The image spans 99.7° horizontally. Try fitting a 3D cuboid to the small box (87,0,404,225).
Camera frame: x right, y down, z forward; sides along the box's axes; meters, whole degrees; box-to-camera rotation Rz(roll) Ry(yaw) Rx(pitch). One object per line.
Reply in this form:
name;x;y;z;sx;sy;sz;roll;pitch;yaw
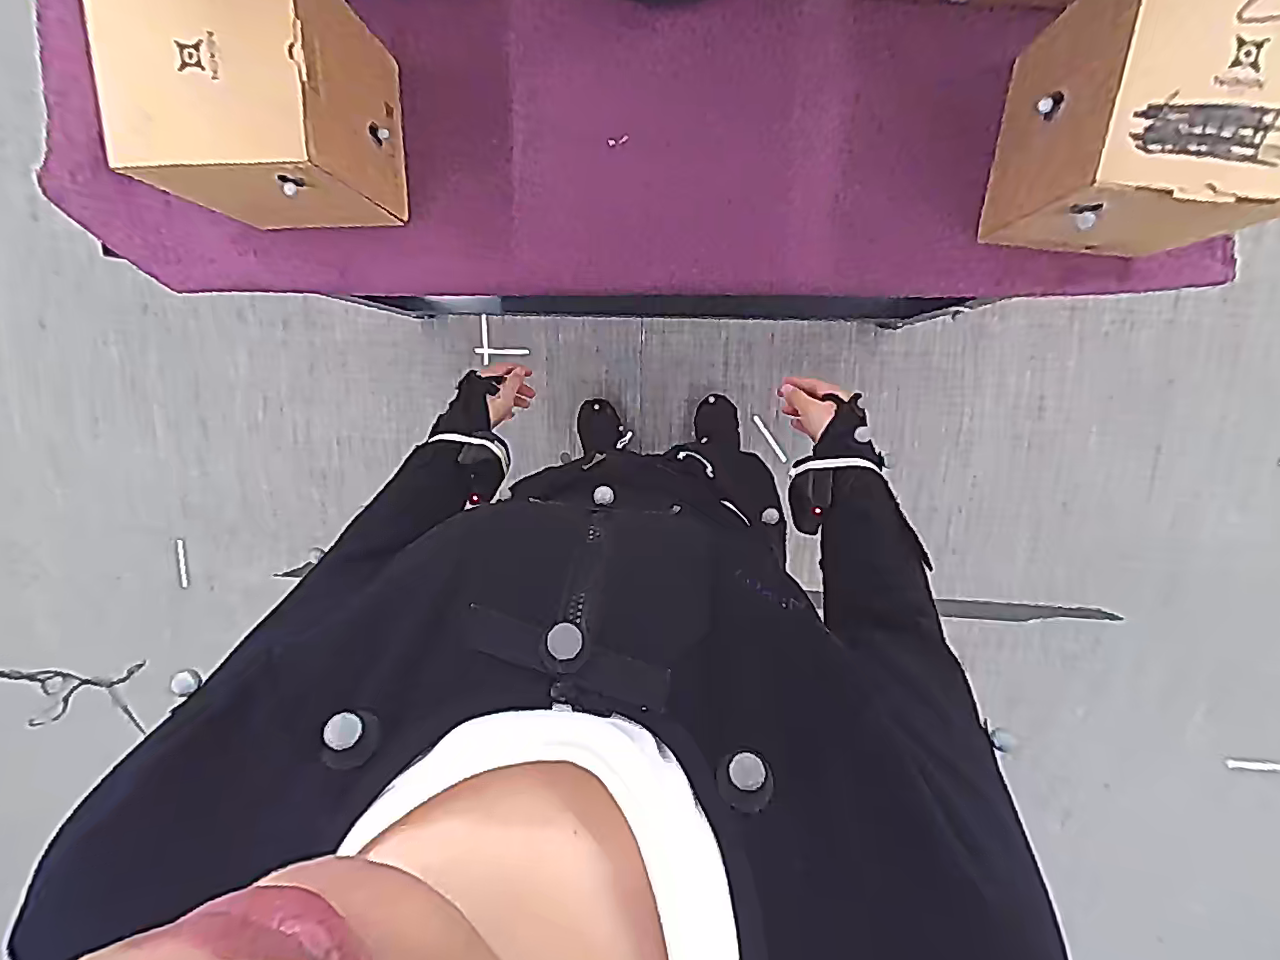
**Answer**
small box;-0.353;-0.354;0.513;0.179;0.176;0.168;-1;99;3
